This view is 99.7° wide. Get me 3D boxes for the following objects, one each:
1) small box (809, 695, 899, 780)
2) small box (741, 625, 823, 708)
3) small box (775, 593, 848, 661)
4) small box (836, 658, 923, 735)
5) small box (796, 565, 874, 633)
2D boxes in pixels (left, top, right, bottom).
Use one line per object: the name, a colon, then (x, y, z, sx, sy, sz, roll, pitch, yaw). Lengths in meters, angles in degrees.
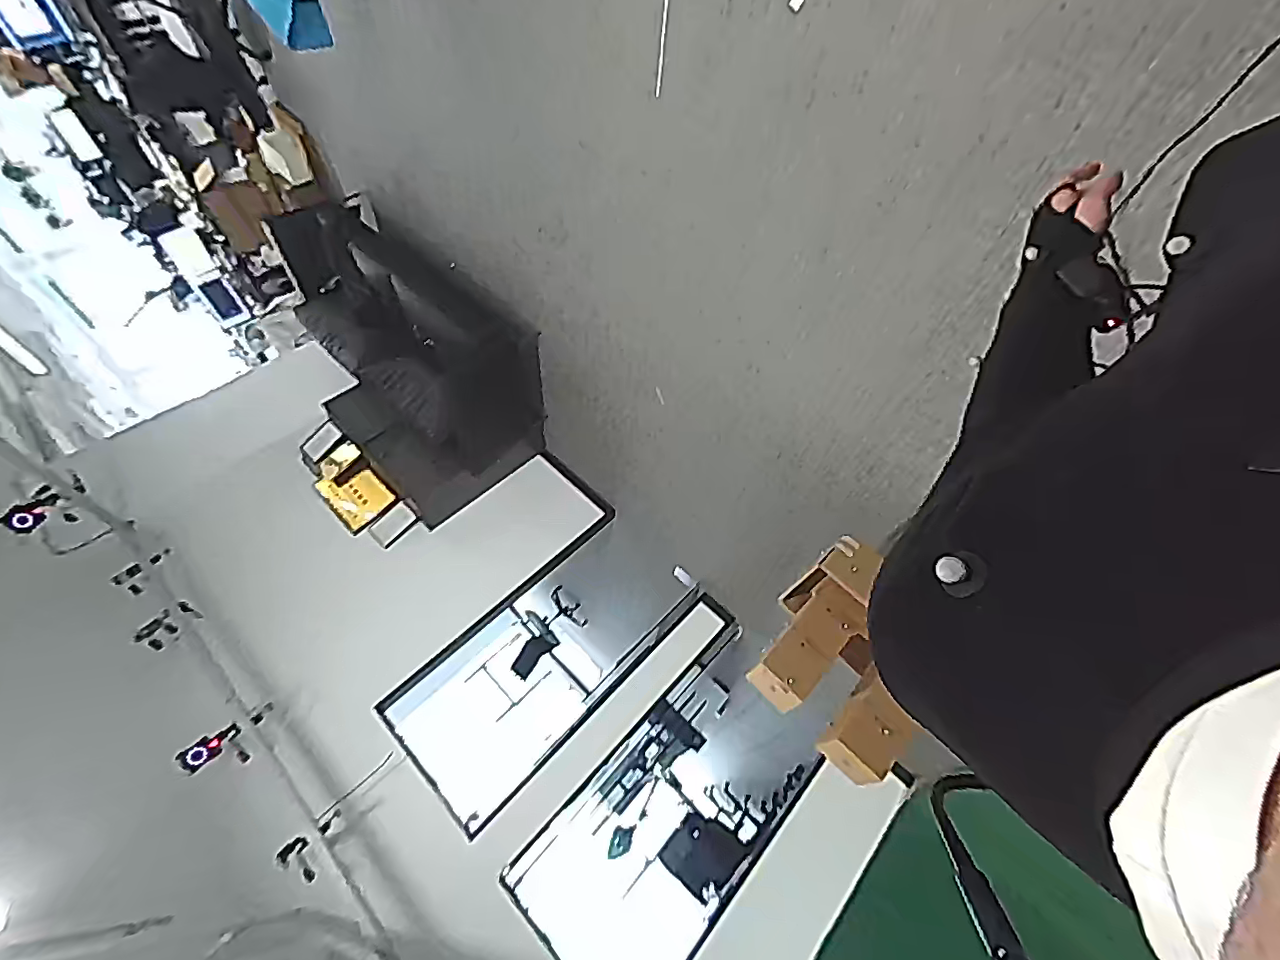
small box: (0.669, 0.802, 1.685, 0.168, 0.176, 0.179, 41, 152, 16)
small box: (0.462, 0.604, 1.756, 0.168, 0.176, 0.179, 42, 151, 17)
small box: (0.575, 0.515, 1.836, 0.168, 0.176, 0.179, 42, 151, 18)
small box: (0.782, 0.712, 1.760, 0.168, 0.176, 0.179, 41, 151, 17)
small box: (0.693, 0.431, 1.915, 0.168, 0.176, 0.179, 44, 152, 14)
